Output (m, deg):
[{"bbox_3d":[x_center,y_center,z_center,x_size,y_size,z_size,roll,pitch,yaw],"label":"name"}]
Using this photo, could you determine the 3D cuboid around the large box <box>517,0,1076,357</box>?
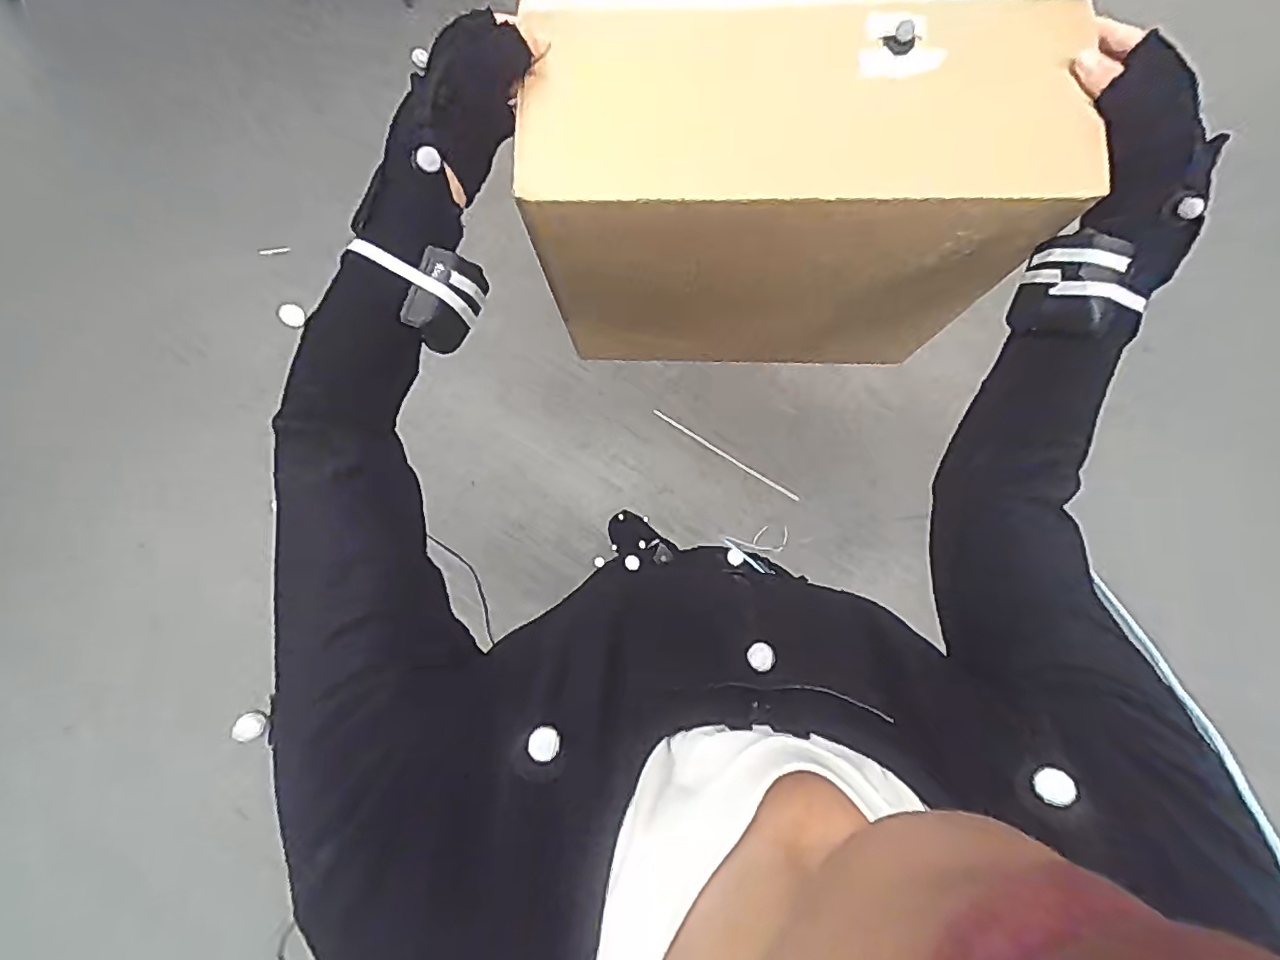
[{"bbox_3d":[0.109,-0.330,0.553,0.408,0.320,0.320,1,81,1],"label":"large box"}]
